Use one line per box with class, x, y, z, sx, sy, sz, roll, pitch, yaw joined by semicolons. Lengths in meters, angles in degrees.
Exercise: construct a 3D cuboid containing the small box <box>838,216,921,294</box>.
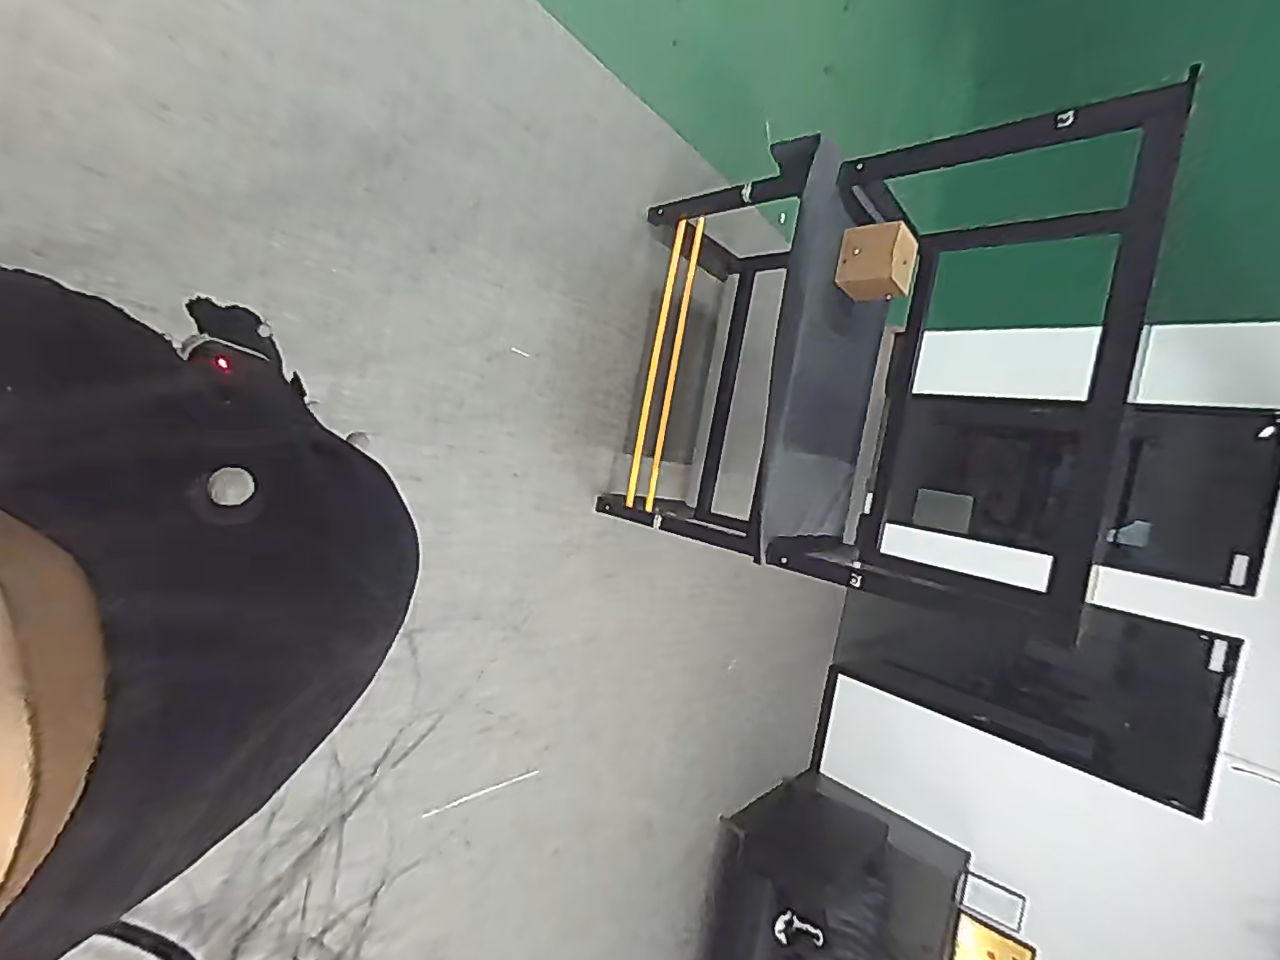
small box;0.727;-0.677;1.646;0.179;0.176;0.168;8;94;-49
